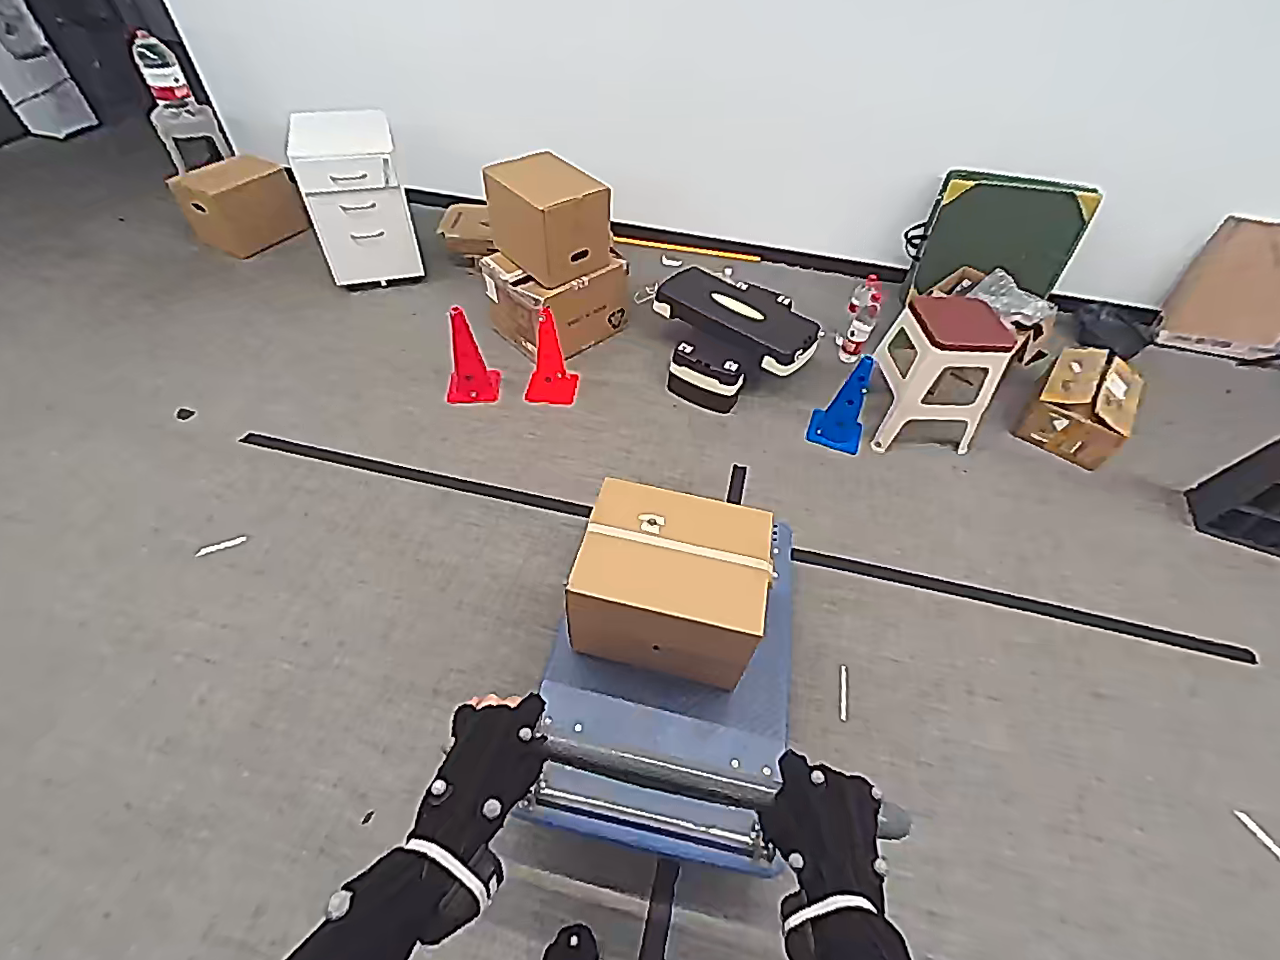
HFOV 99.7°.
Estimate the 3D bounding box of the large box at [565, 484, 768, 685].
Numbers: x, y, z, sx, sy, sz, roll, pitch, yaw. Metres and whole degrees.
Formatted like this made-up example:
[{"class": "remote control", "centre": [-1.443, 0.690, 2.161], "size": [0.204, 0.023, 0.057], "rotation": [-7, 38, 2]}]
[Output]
[{"class": "large box", "centre": [0.068, 0.253, 1.295], "size": [0.408, 0.320, 0.320], "rotation": [12, 50, 7]}]
